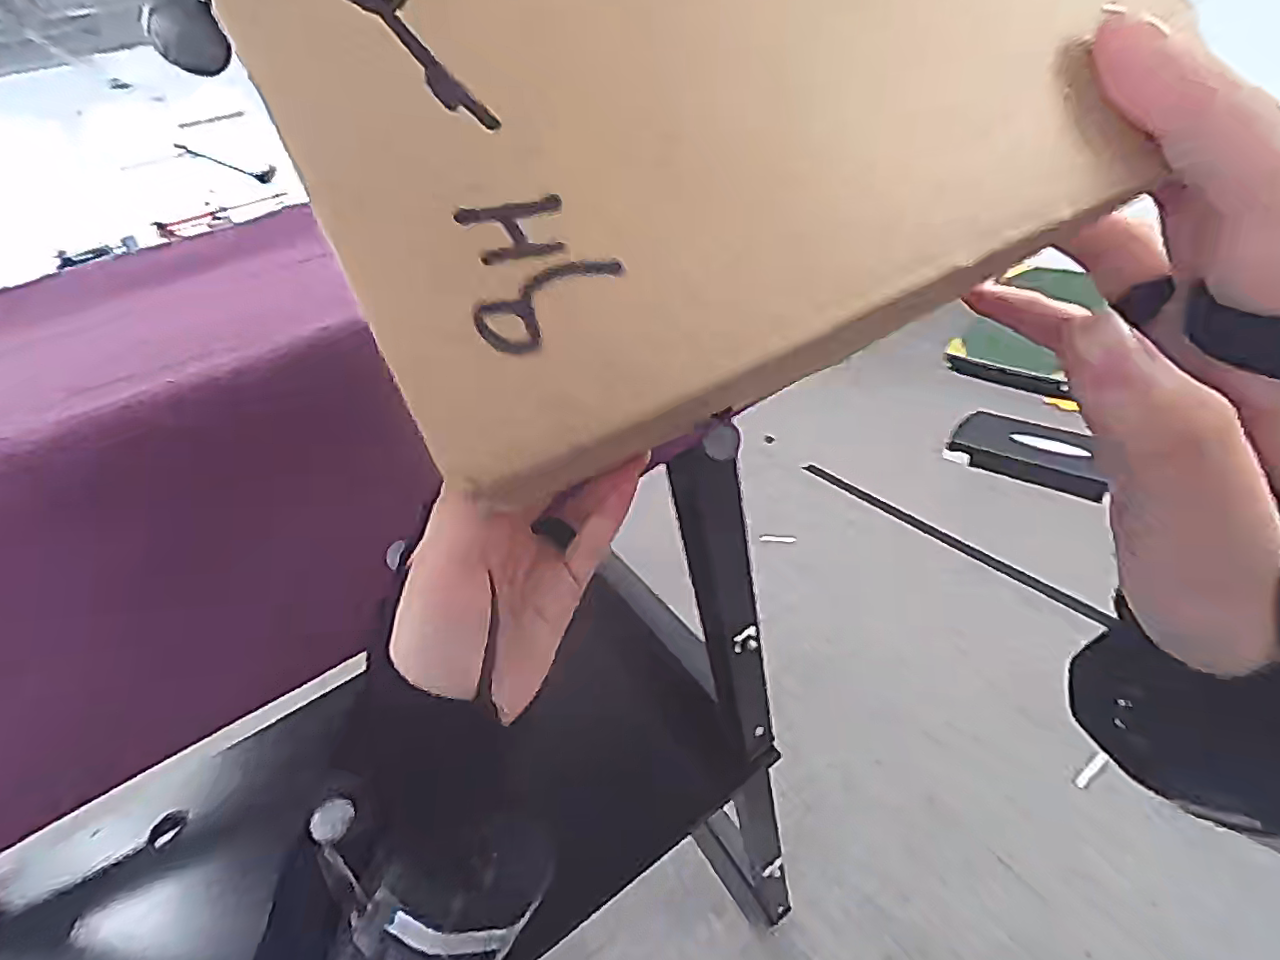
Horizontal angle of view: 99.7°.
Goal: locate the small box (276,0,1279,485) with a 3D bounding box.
[{"bbox_3d":[0.007,-0.108,0.170,0.179,0.168,0.176,-25,0,-10],"label":"small box"}]
